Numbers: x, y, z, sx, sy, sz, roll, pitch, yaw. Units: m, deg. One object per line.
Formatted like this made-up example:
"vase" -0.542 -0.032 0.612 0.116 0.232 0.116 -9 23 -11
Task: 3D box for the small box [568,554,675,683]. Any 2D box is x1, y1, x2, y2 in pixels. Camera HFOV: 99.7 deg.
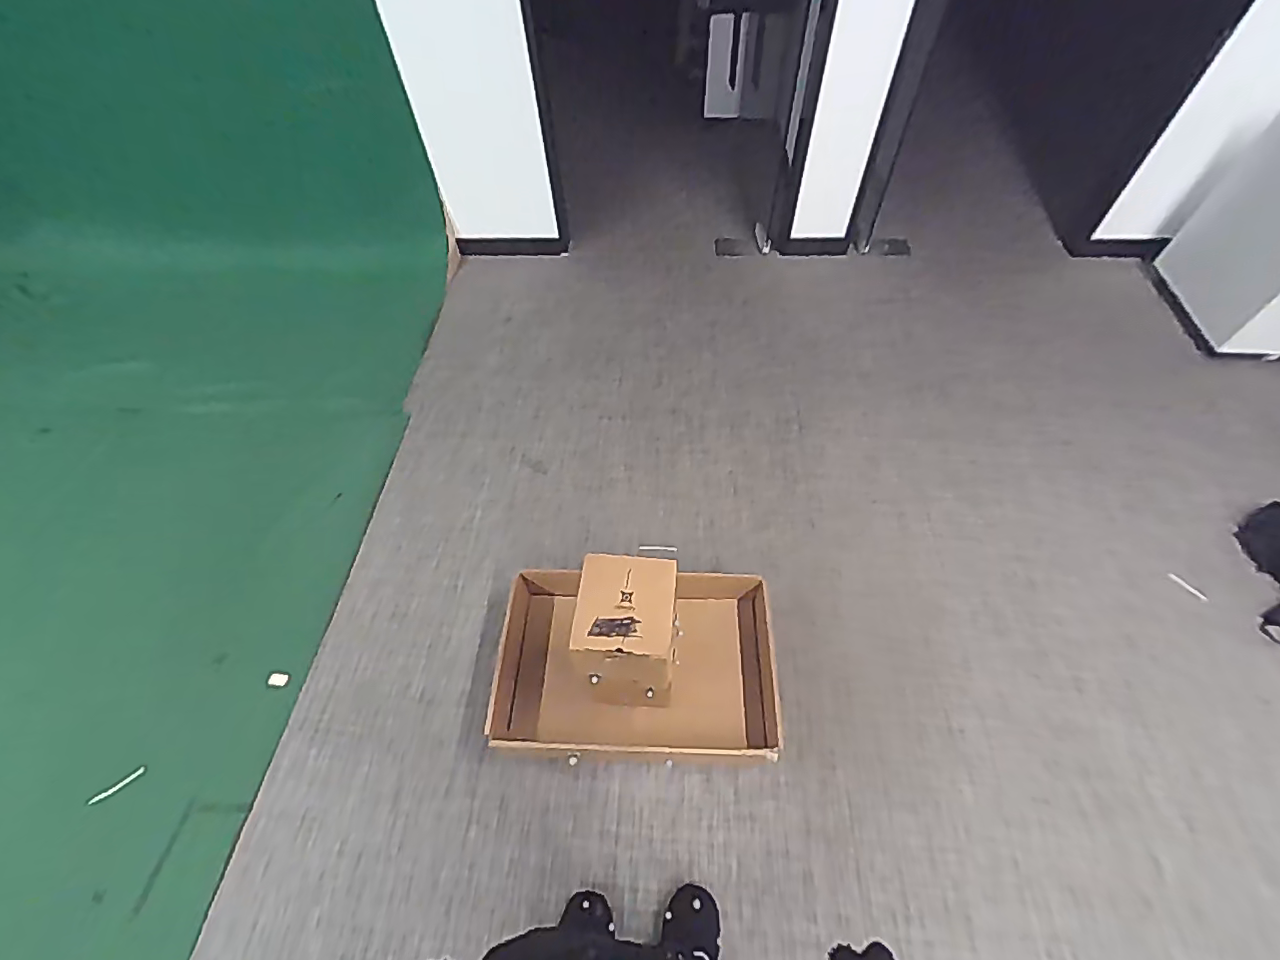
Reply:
"small box" -0.025 0.256 0.981 0.168 0.176 0.179 4 54 5

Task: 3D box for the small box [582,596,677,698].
"small box" -0.016 0.339 1.104 0.179 0.176 0.168 1 55 2

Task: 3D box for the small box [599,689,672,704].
"small box" -0.012 0.420 1.268 0.179 0.176 0.168 0 54 2
